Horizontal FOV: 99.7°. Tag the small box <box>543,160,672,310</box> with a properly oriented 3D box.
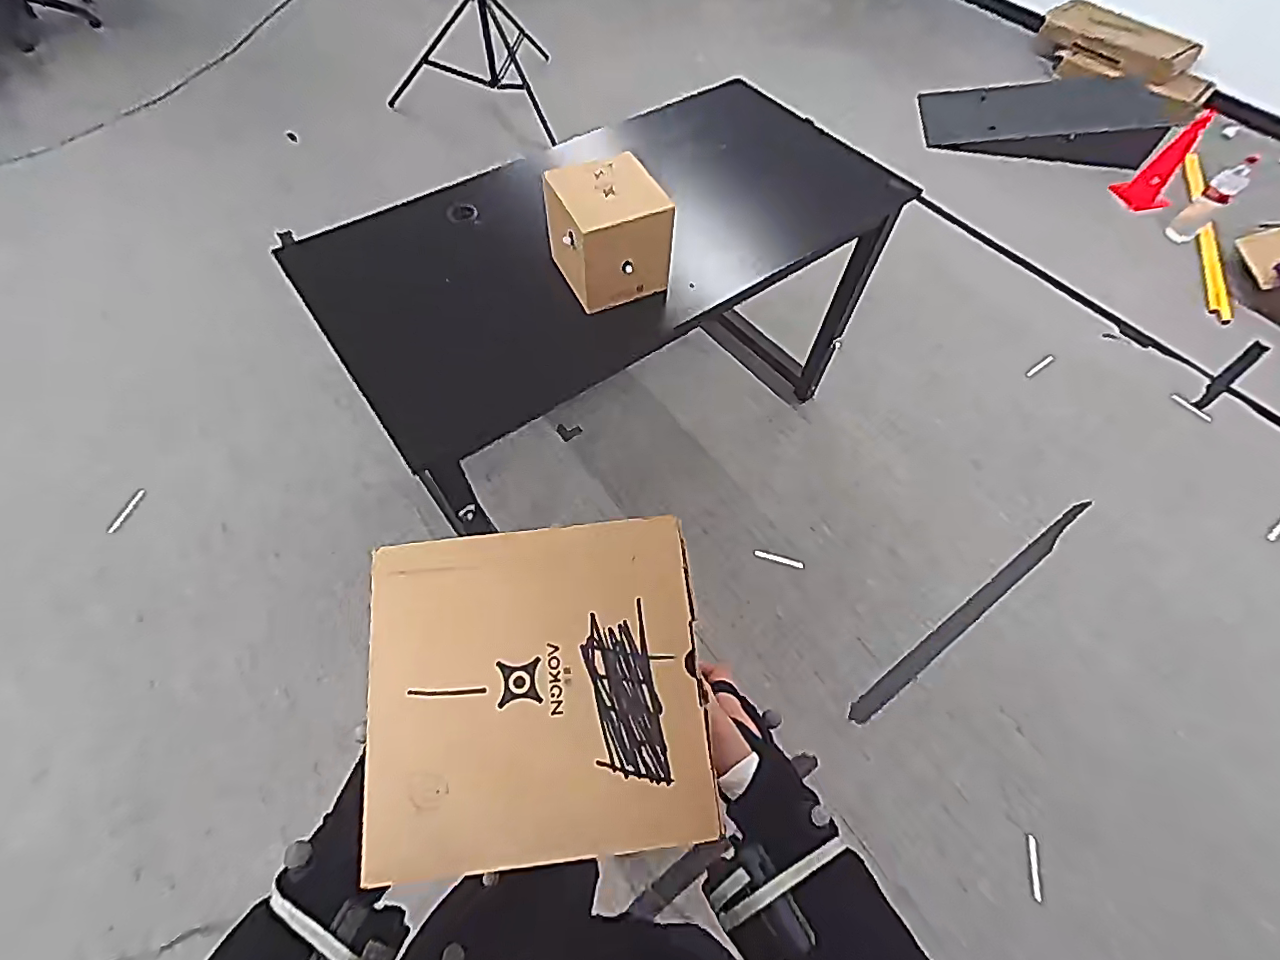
[{"bbox_3d":[-0.057,-0.427,0.964,0.168,0.176,0.179,-22,63,-15],"label":"small box"}]
